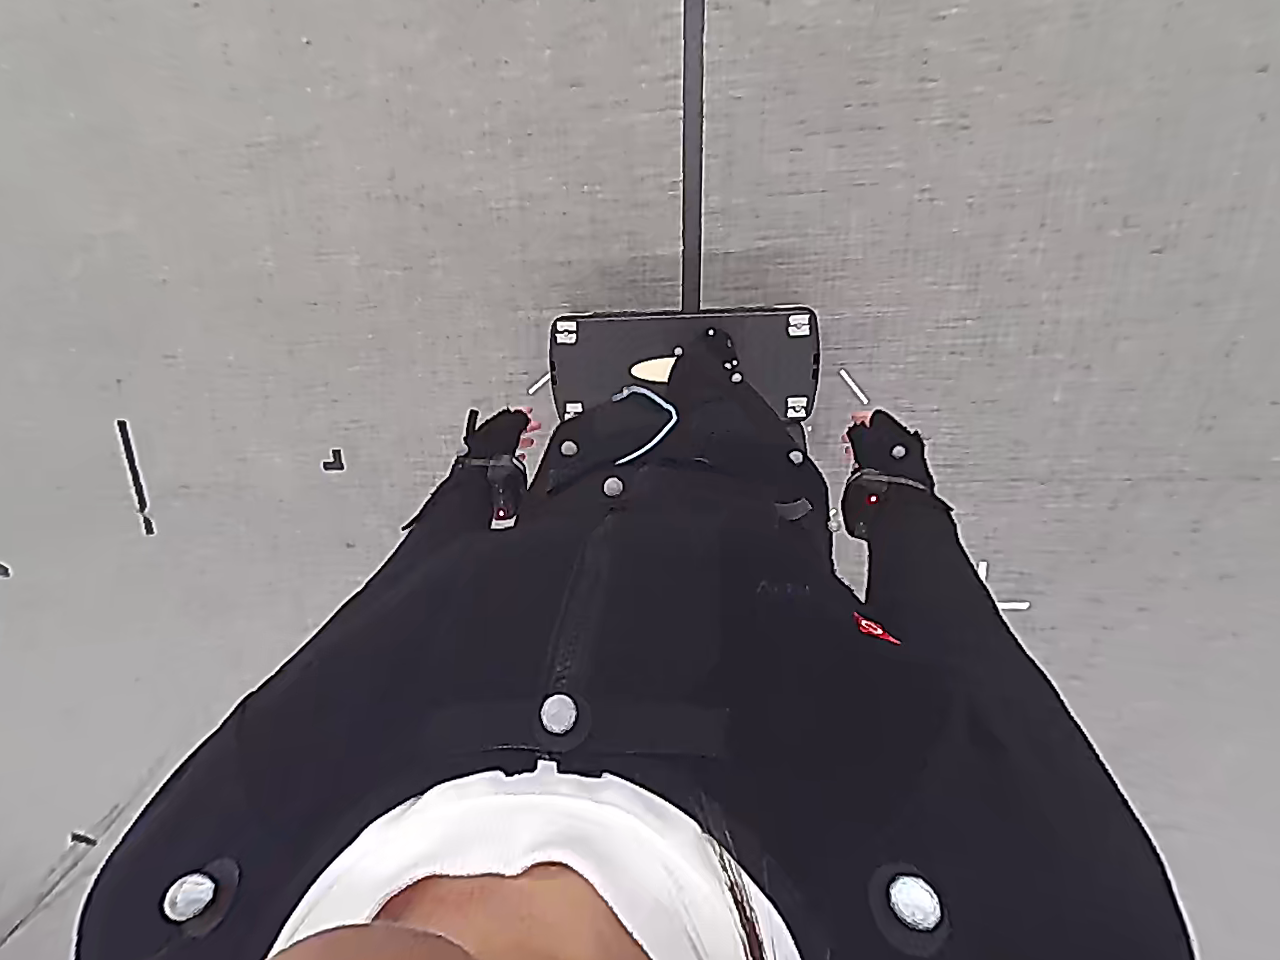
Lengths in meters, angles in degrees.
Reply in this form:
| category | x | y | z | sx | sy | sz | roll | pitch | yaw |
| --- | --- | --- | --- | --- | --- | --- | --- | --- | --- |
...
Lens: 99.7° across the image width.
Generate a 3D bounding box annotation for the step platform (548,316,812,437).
| category | x | y | z | sx | sy | sz | roll | pitch | yaw |
| --- | --- | --- | --- | --- | --- | --- | --- | --- | --- |
| step platform | 0.101 | -0.272 | 1.437 | 0.684 | 0.204 | 0.286 | -1 | 106 | 6 |
